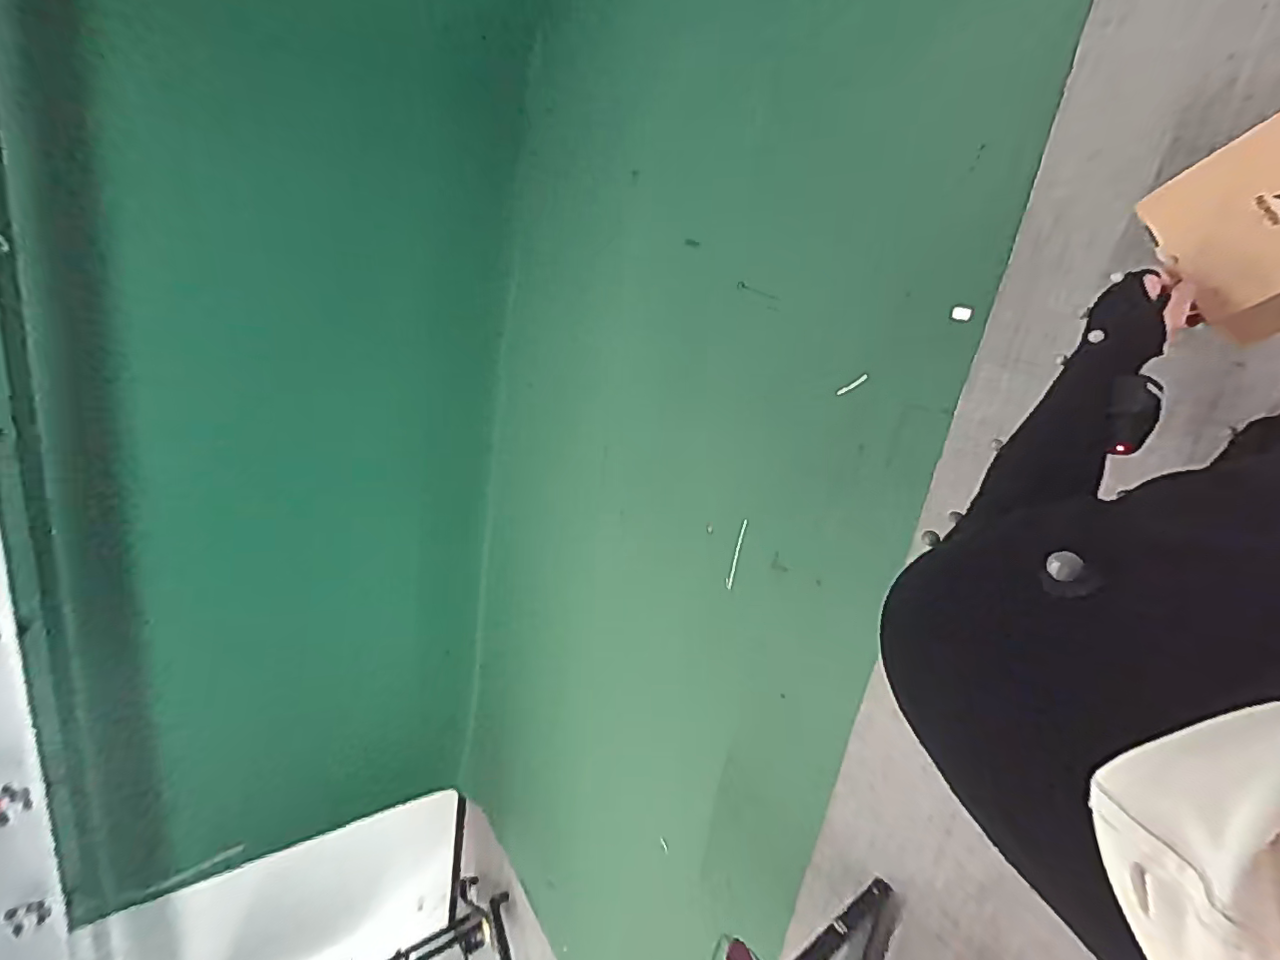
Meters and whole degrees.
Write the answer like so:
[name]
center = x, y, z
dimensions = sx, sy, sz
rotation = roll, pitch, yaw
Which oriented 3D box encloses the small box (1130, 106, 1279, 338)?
[small box]
center = 0.674, -0.267, 0.559
dimensions = 0.179, 0.176, 0.168
rotation = -35, 62, 51
